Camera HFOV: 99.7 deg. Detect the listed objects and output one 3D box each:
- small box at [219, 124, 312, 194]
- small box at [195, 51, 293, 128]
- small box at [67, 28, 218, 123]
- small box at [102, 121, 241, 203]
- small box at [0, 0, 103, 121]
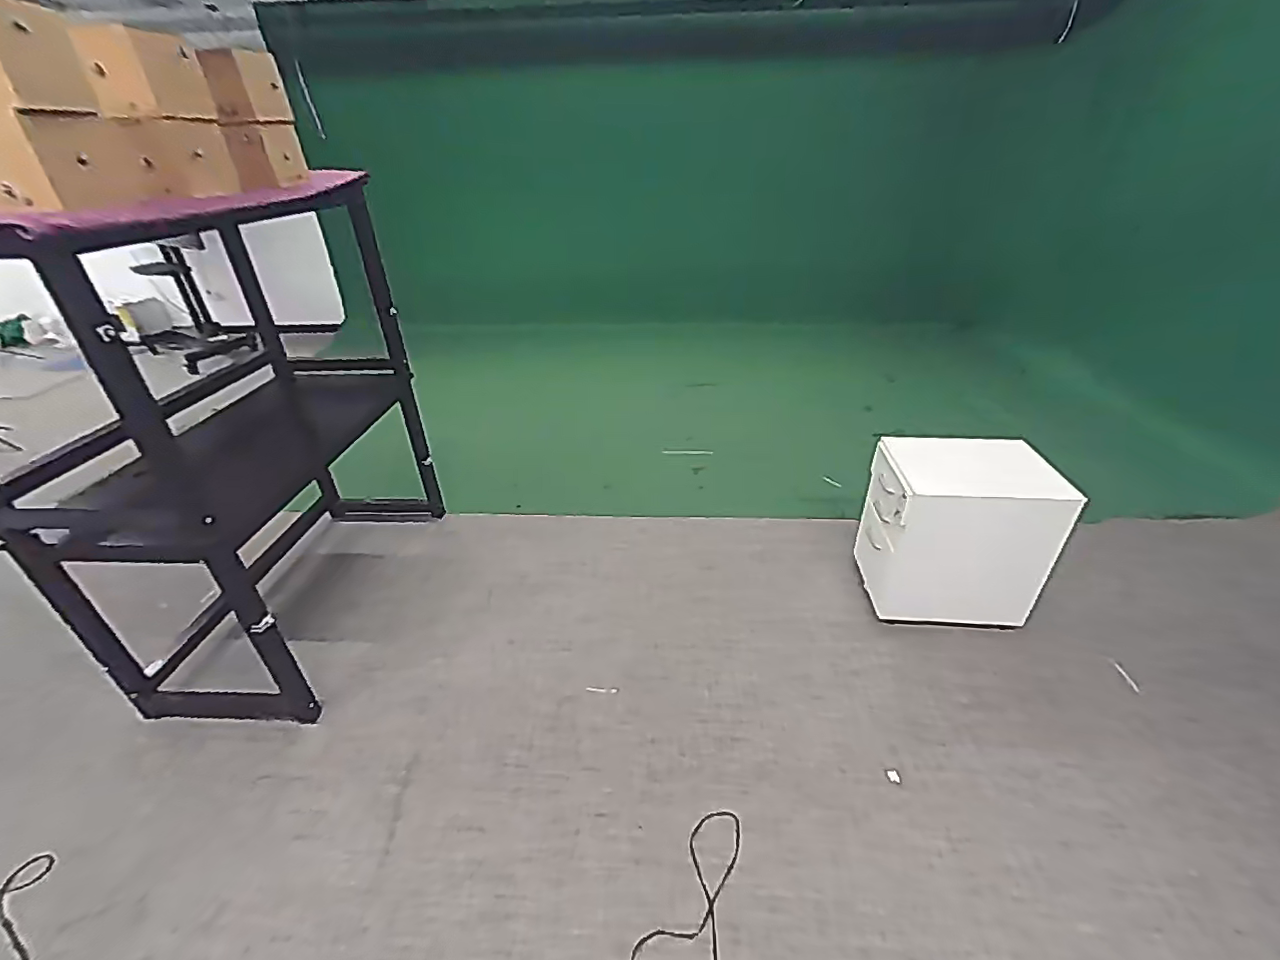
[{"bbox_3d":[-1.145,-0.976,1.642,0.179,0.176,0.168,0,33,6],"label":"small box"},{"bbox_3d":[-1.139,-1.111,1.551,0.168,0.176,0.179,-1,34,5],"label":"small box"},{"bbox_3d":[-1.154,-0.935,1.271,0.168,0.176,0.179,3,31,7],"label":"small box"},{"bbox_3d":[-1.155,-0.794,1.354,0.168,0.176,0.179,2,32,4],"label":"small box"},{"bbox_3d":[-1.151,-0.757,0.976,0.168,0.176,0.179,-1,31,0],"label":"small box"}]
